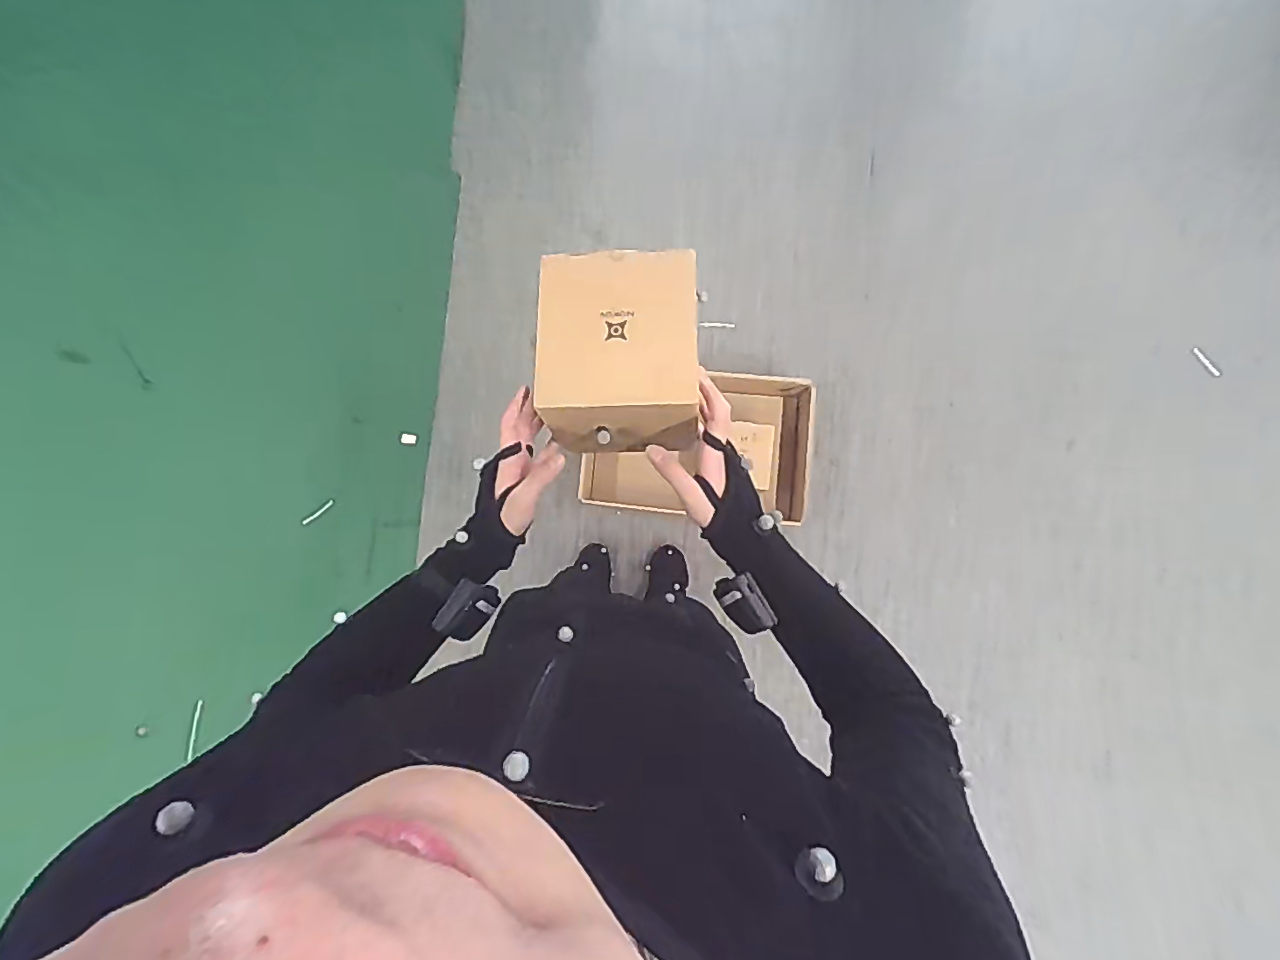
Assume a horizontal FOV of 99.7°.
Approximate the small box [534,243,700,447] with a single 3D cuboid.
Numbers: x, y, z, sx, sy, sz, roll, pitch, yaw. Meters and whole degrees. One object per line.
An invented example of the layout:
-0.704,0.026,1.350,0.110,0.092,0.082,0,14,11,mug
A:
-0.017,-0.139,0.615,0.168,0.176,0.179,-1,76,3,small box
